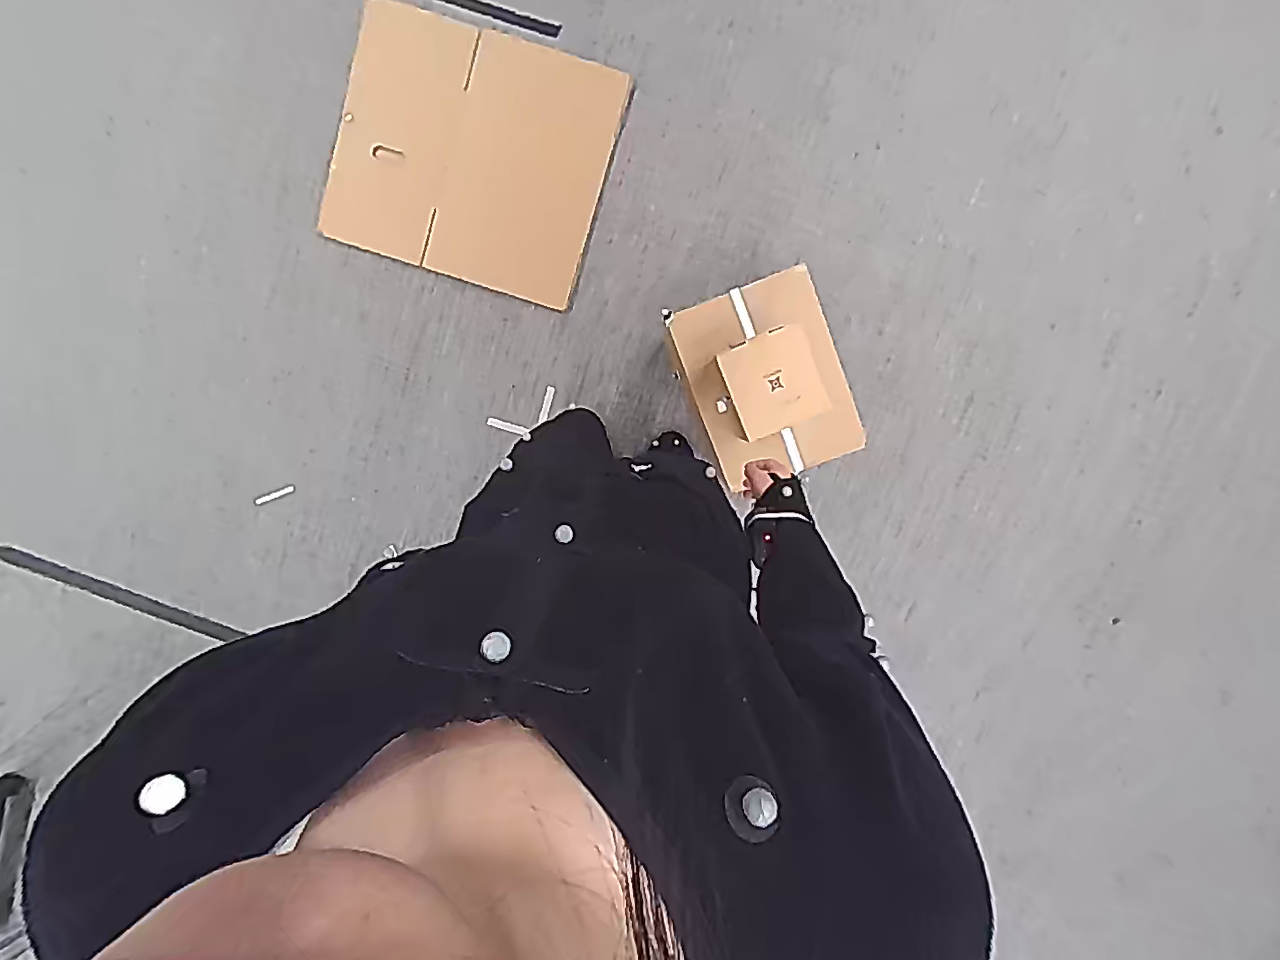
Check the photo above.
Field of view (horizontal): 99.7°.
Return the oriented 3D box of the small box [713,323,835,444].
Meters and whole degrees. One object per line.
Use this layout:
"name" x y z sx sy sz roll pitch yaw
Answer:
"small box" 0.251 -0.181 1.055 0.168 0.176 0.179 -23 95 6
